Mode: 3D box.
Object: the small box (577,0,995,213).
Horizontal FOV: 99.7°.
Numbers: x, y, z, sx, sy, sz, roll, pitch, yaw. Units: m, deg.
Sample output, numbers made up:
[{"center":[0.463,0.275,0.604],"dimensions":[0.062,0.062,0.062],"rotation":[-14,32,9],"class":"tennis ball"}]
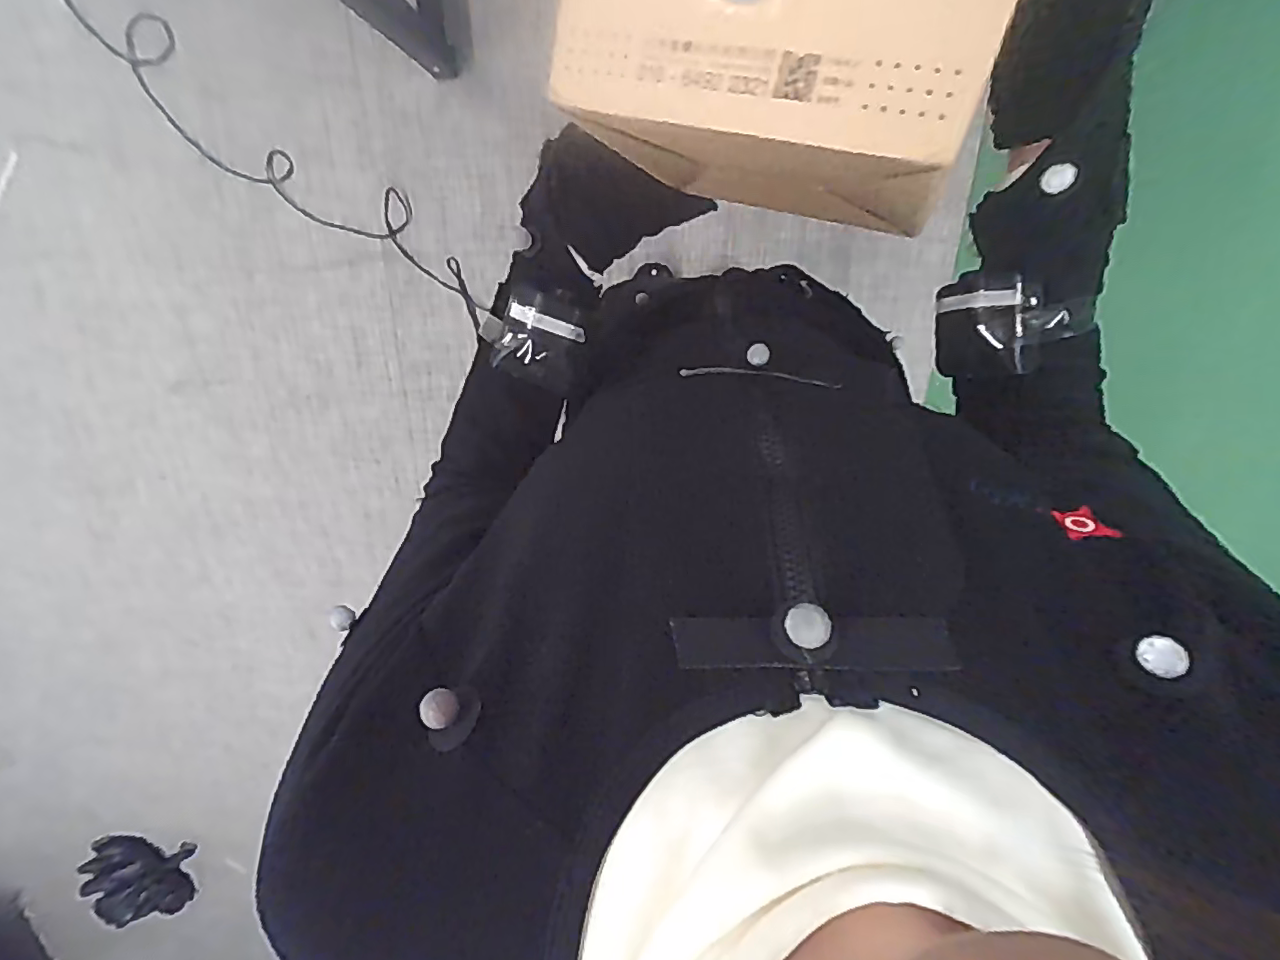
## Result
[{"center":[0.085,-0.242,0.265],"dimensions":[0.168,0.179,0.176],"rotation":[20,113,17],"class":"small box"}]
